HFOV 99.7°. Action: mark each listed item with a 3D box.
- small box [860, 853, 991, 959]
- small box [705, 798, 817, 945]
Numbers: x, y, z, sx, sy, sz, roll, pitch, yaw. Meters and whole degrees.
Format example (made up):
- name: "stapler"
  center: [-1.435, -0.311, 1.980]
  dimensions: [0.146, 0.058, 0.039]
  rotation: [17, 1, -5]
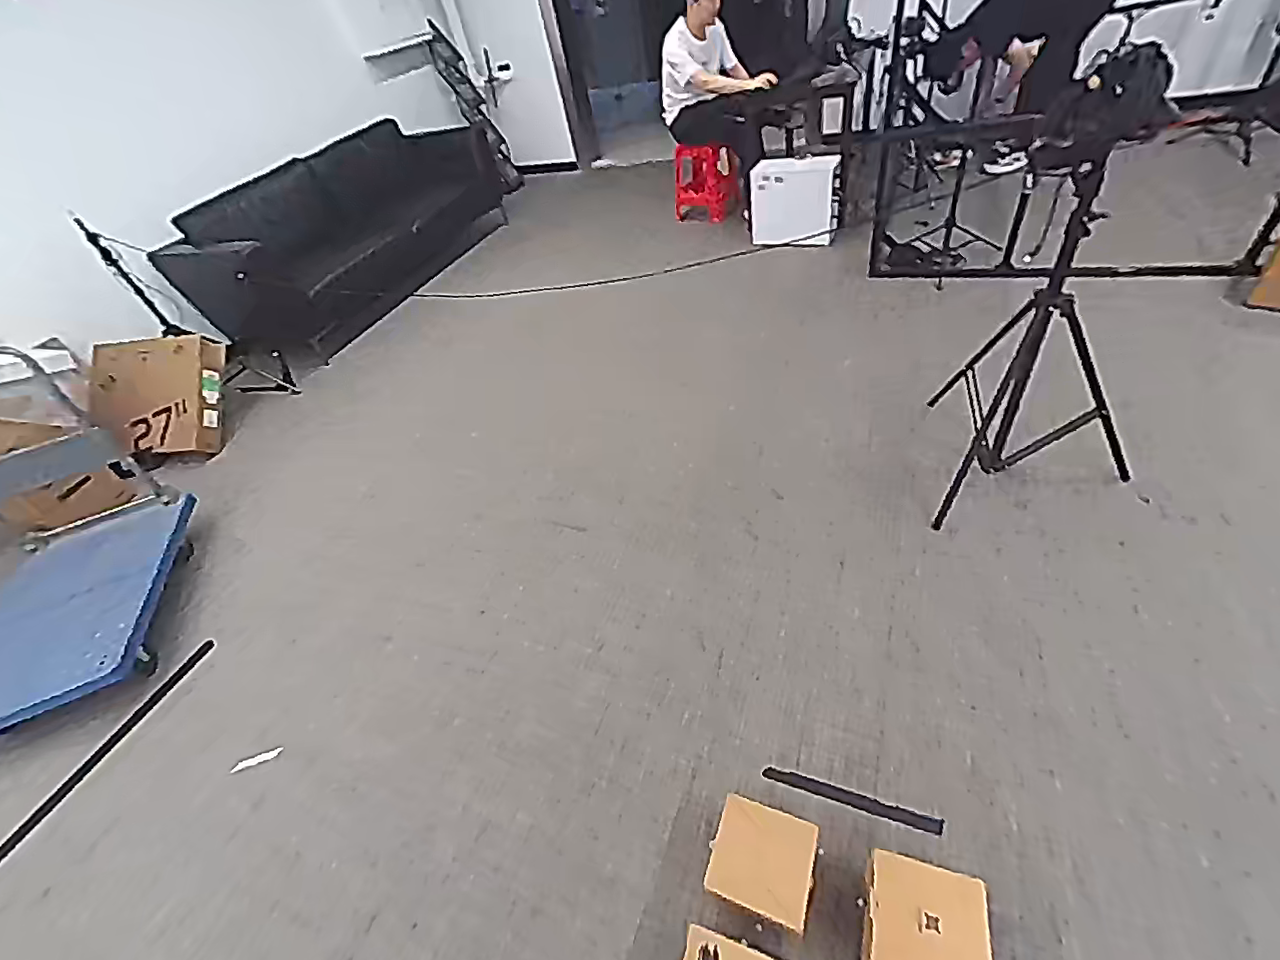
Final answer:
- name: "small box"
  center: [0.485, 0.783, 0.935]
  dimensions: [0.179, 0.176, 0.168]
  rotation: [5, 46, 20]
- name: "small box"
  center: [0.236, 0.745, 1.034]
  dimensions: [0.179, 0.176, 0.168]
  rotation: [9, 47, 23]
